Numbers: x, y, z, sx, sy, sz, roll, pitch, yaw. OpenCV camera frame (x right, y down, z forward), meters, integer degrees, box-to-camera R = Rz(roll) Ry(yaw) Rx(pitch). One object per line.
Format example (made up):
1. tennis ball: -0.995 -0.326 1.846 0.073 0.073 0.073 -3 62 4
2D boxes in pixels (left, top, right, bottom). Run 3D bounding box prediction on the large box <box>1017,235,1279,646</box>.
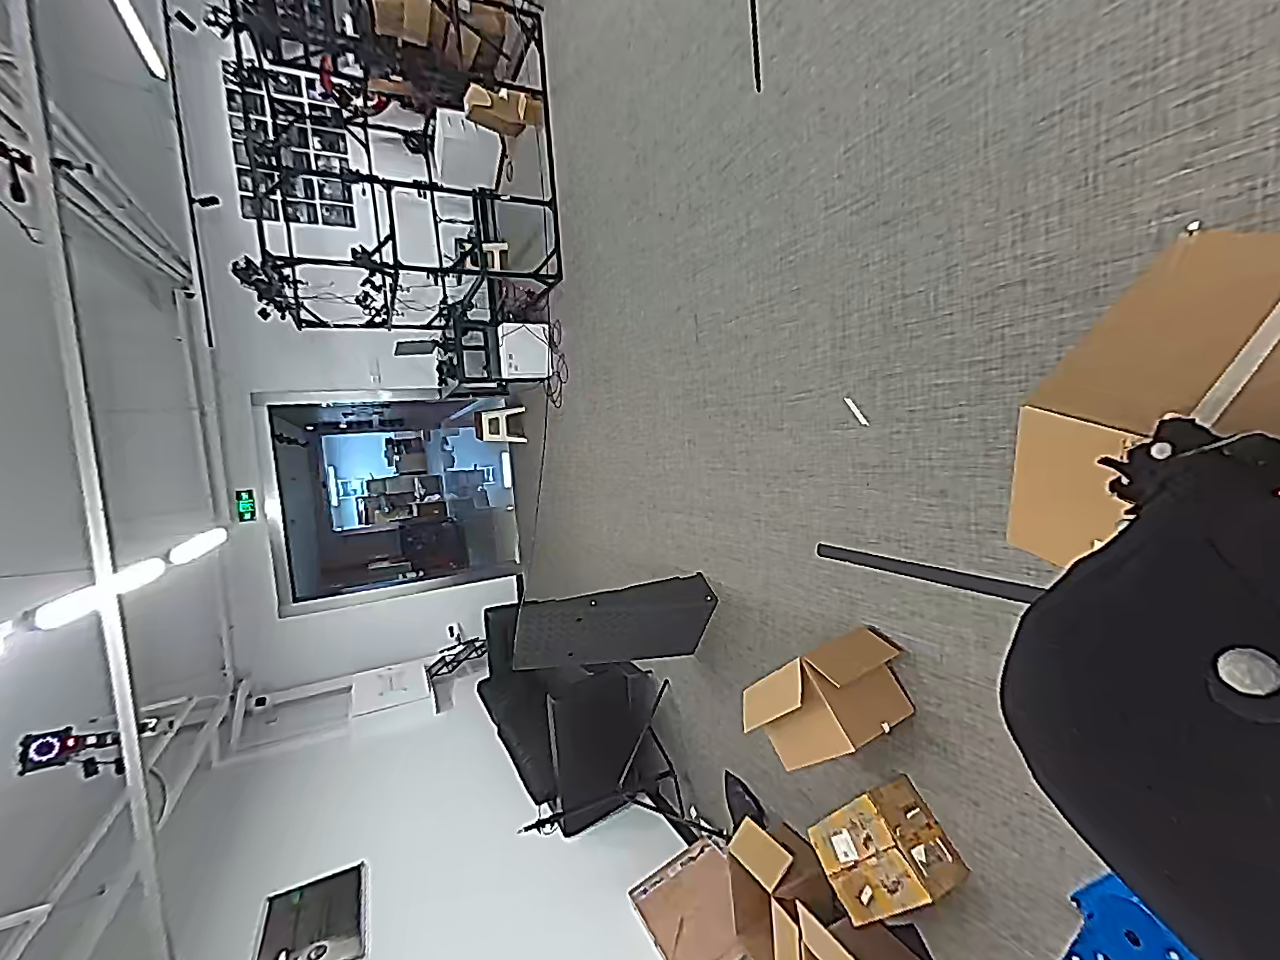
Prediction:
1. large box: 0.780 -0.070 0.725 0.320 0.408 0.320 35 162 47
